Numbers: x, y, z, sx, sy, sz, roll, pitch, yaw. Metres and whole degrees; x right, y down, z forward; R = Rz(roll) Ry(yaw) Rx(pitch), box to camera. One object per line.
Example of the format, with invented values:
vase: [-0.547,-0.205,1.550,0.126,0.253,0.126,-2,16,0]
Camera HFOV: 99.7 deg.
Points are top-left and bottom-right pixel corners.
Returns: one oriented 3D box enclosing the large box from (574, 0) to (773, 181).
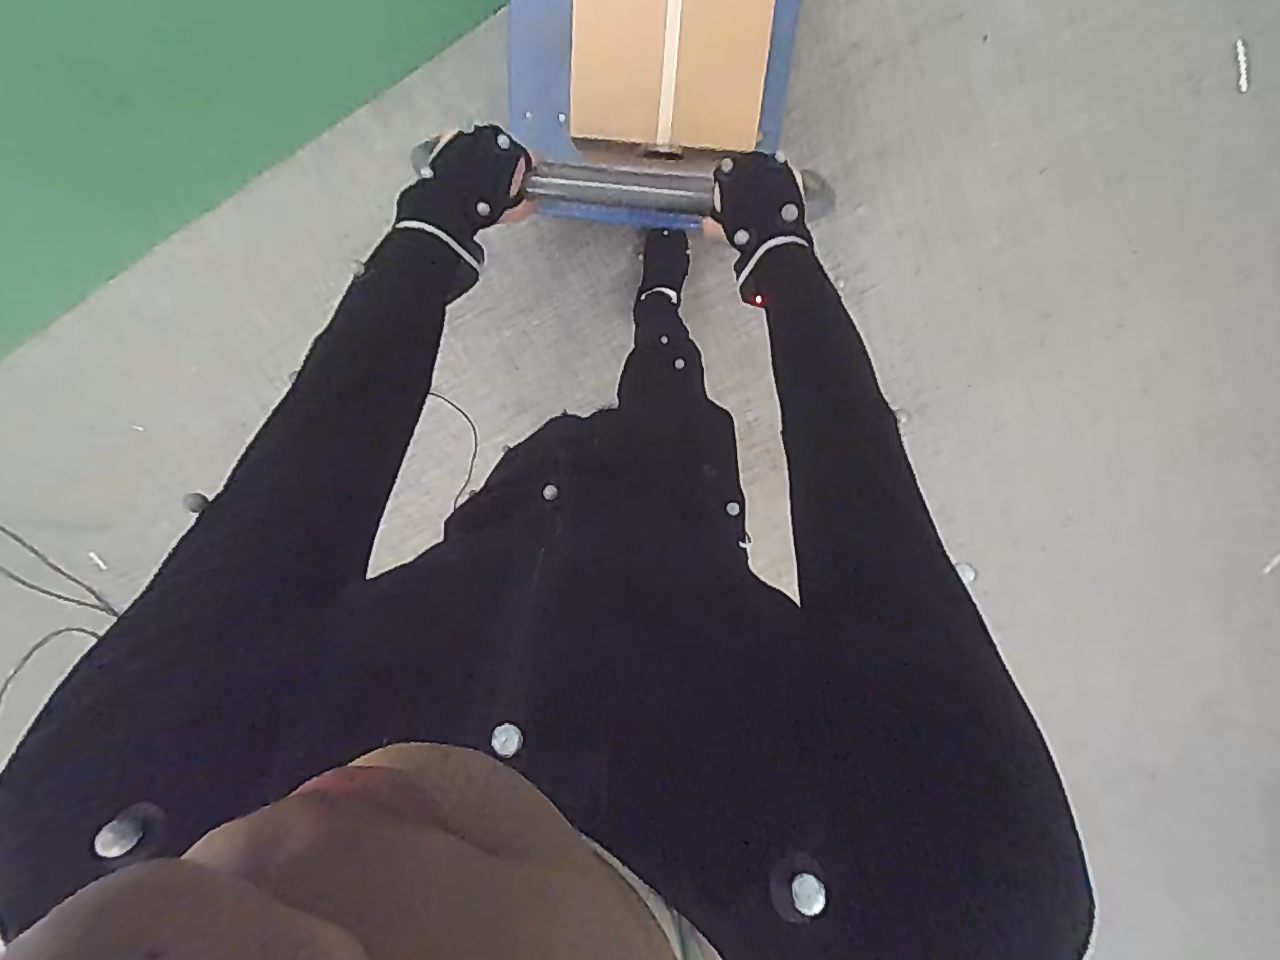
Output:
large box: [0.061,-0.803,0.991,0.320,0.320,0.408,5,111,-1]
